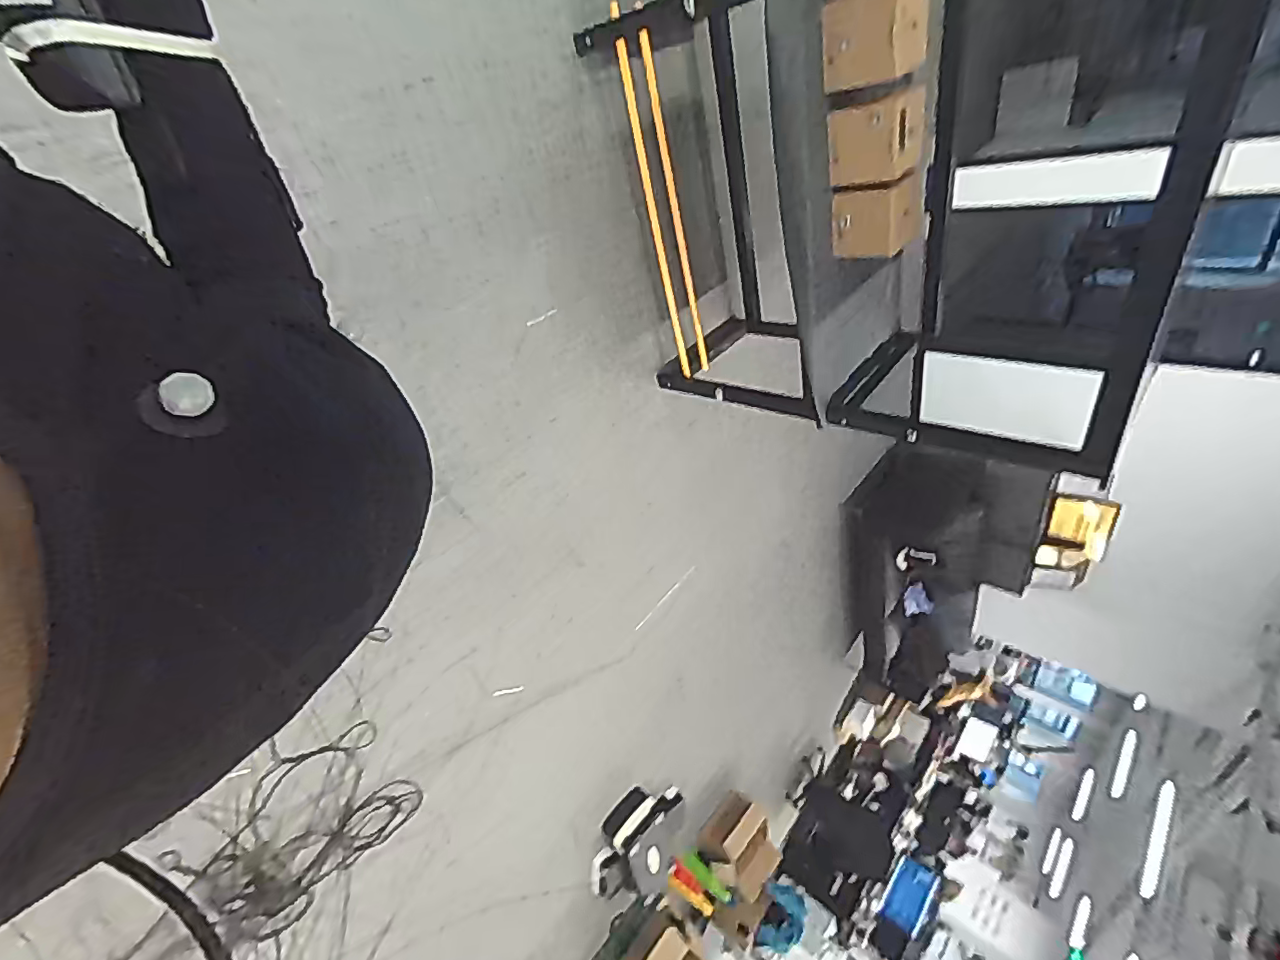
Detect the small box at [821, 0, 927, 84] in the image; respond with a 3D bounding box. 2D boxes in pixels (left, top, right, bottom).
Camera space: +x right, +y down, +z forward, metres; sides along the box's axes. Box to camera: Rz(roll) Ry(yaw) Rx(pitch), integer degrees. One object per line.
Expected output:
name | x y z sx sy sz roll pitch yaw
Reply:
small box | 0.528 -1.025 1.223 0.179 0.176 0.168 -43 134 -28
